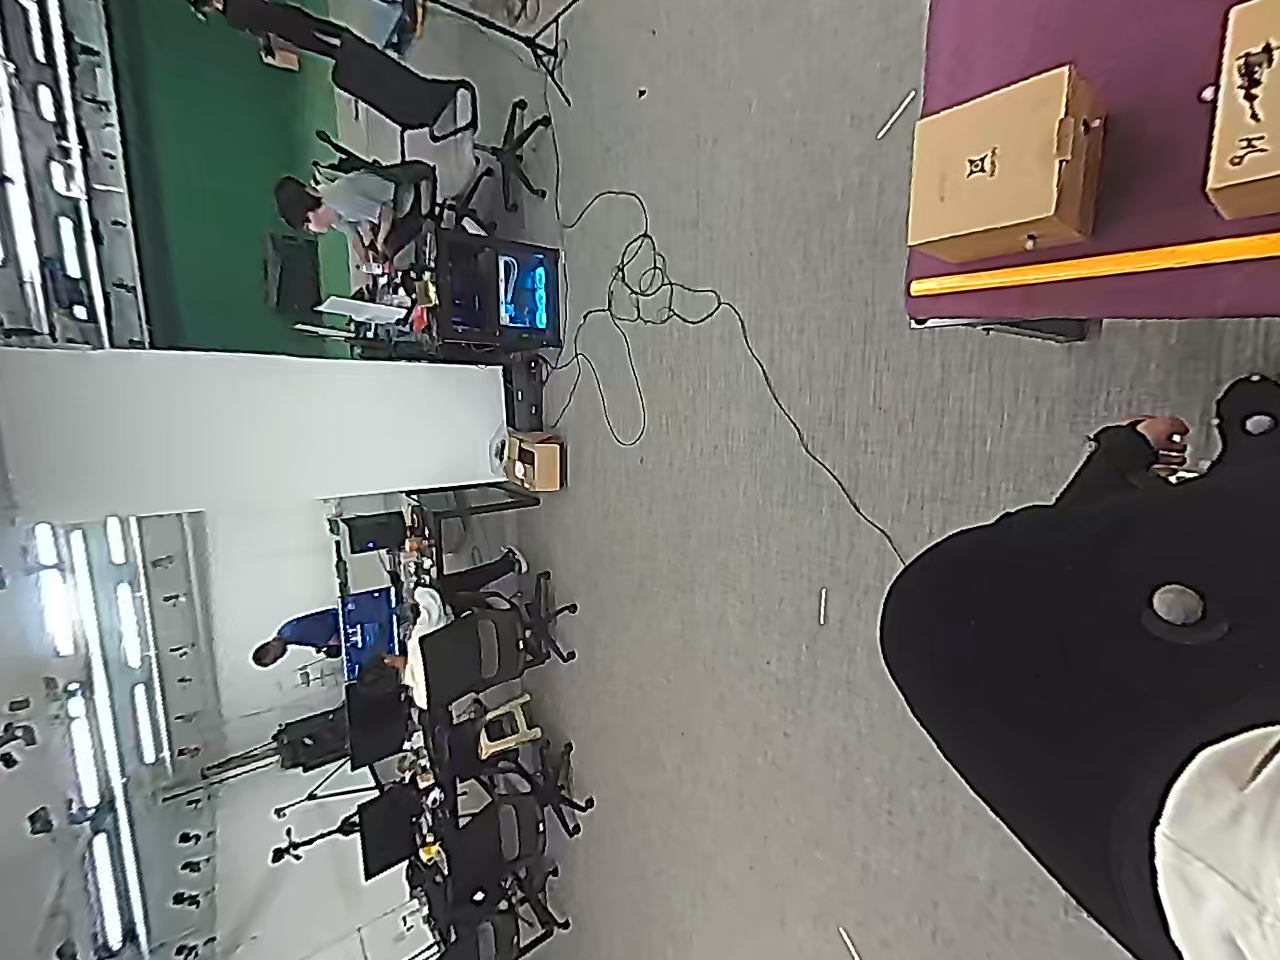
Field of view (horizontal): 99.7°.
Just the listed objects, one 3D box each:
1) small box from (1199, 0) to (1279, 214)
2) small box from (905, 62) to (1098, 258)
[{"bbox_3d":[0.674,-0.370,0.508,0.179,0.176,0.168,11,104,51],"label":"small box"},{"bbox_3d":[0.491,-0.413,0.736,0.179,0.176,0.168,11,104,49],"label":"small box"}]
